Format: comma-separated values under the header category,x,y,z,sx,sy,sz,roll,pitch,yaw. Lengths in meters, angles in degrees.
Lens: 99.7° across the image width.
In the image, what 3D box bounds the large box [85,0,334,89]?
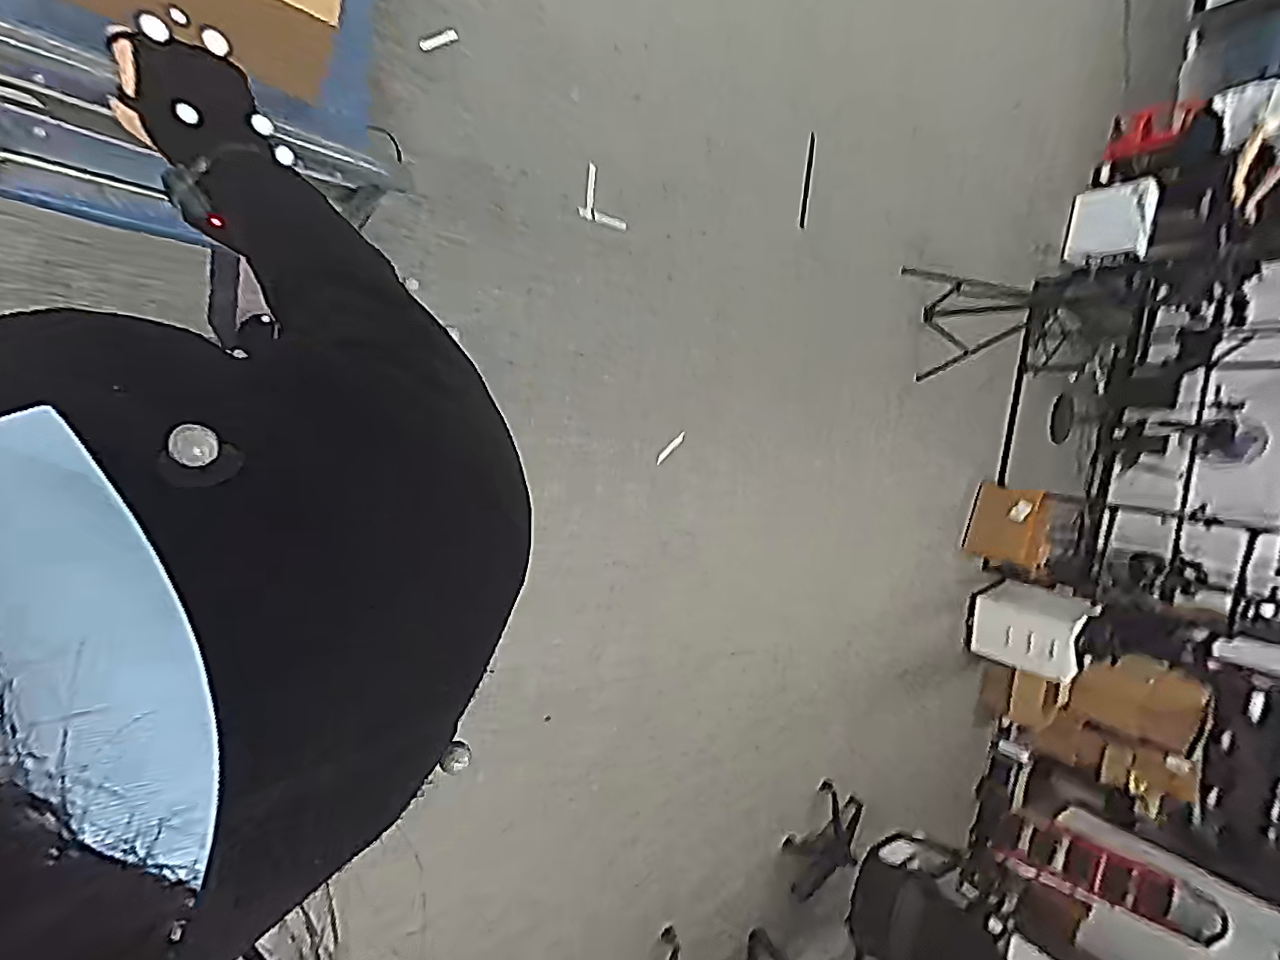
category,x,y,z,sx,sy,sz,roll,pitch,yaw
large box,-0.689,-0.887,0.804,0.408,0.320,0.320,4,96,-36
